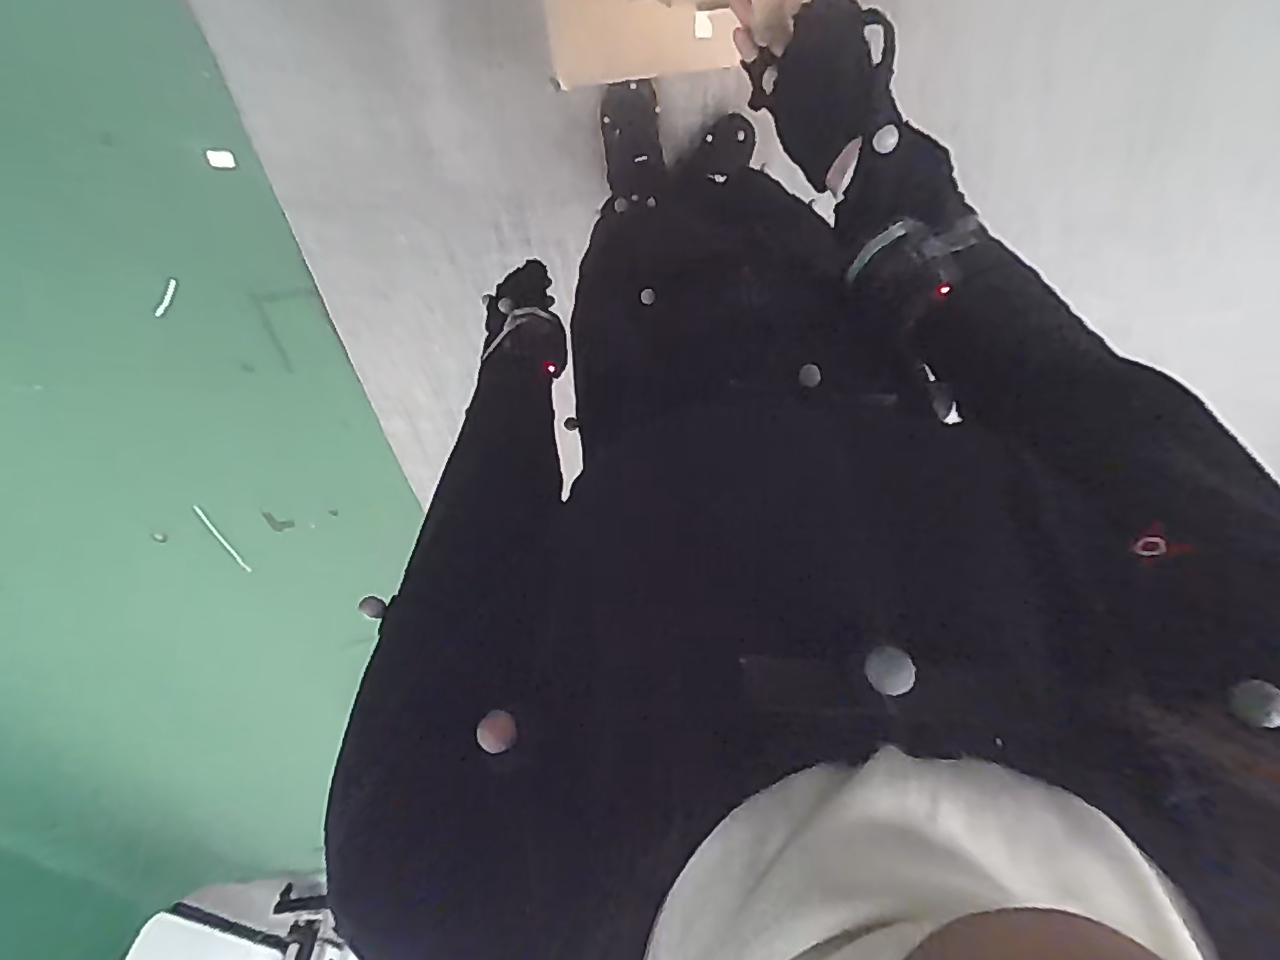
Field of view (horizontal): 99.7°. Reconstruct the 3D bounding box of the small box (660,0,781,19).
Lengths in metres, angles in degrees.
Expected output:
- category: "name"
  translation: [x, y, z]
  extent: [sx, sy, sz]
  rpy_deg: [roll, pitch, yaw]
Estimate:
- category: "small box"
  translation: [0.085, -0.446, 0.368]
  extent: [0.168, 0.176, 0.179]
  rpy_deg: [-8, 133, 3]
